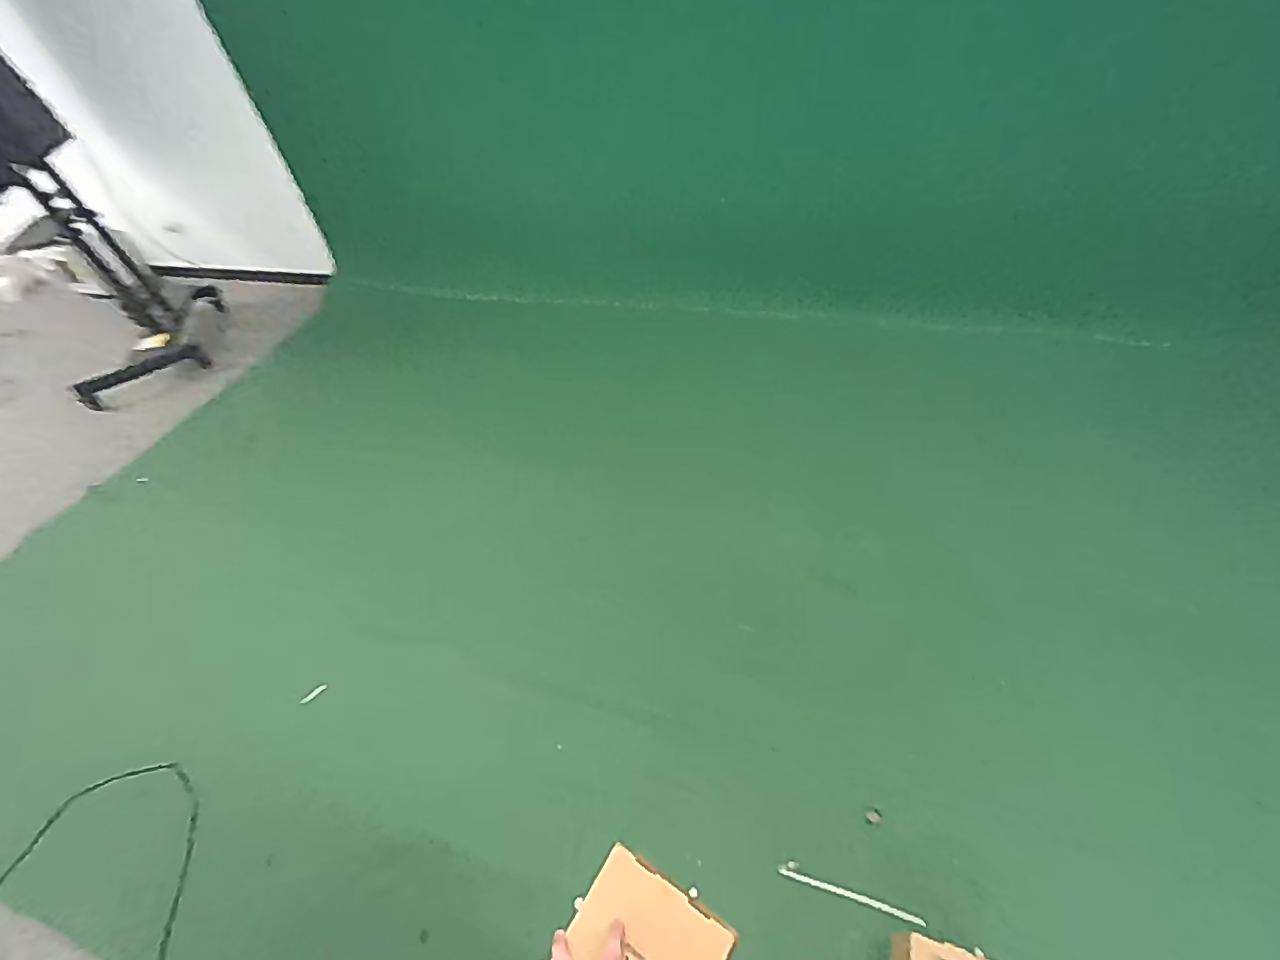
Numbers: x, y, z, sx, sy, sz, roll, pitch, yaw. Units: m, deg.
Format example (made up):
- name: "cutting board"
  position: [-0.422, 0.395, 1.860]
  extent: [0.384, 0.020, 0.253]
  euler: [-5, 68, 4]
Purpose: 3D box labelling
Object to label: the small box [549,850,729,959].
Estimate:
- name: "small box"
  position: [-0.001, 0.589, 0.642]
  extent: [0.168, 0.176, 0.179]
  euler: [21, 57, 27]
